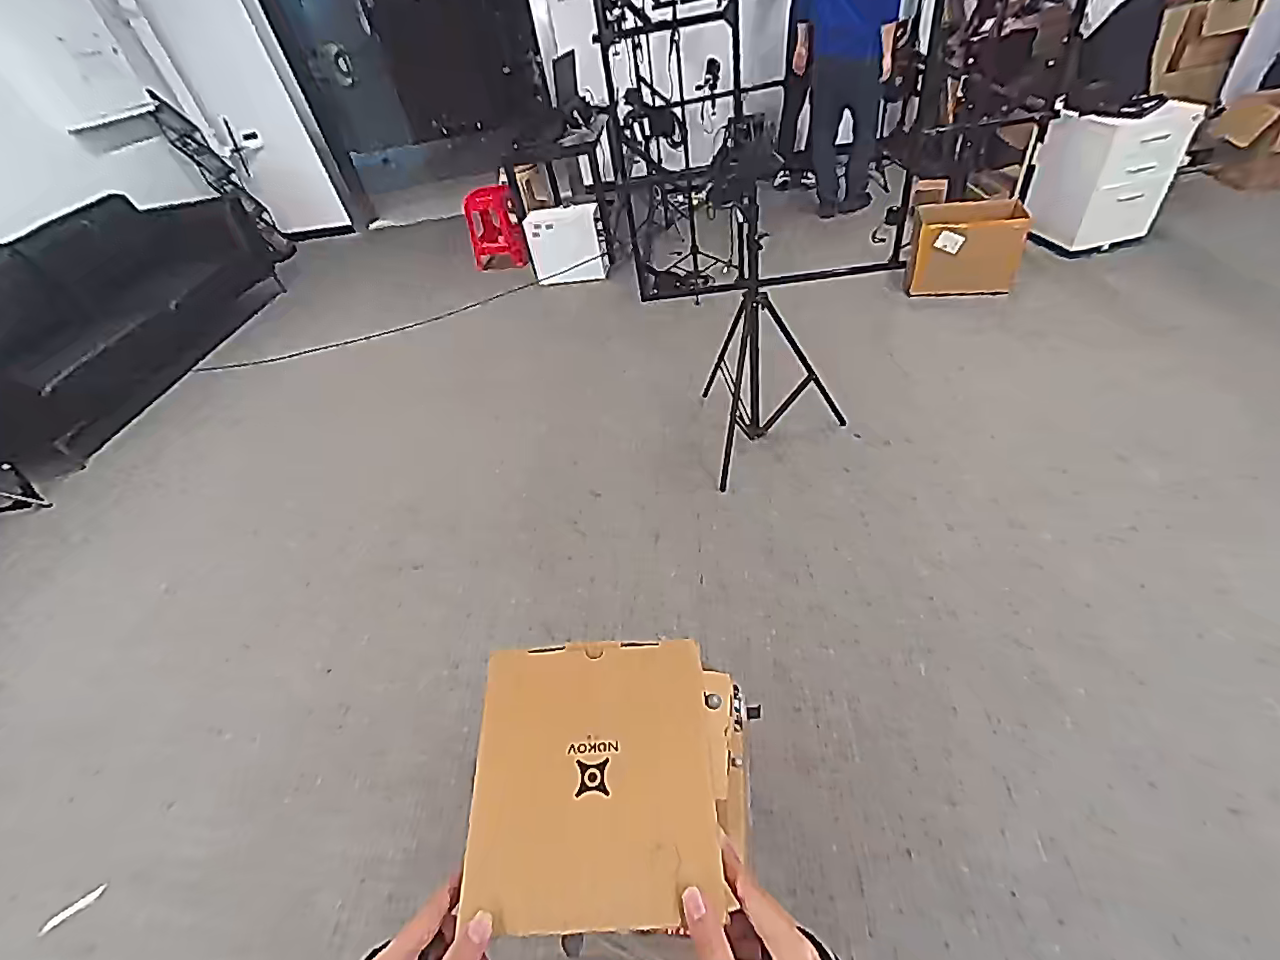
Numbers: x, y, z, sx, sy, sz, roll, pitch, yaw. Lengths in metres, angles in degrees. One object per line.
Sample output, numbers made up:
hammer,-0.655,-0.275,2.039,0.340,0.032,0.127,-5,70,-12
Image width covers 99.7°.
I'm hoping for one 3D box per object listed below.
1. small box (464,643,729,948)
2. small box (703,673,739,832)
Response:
small box,-0.025,0.250,0.435,0.168,0.176,0.179,-5,53,0
small box,0.051,0.393,0.788,0.179,0.176,0.168,1,46,12
